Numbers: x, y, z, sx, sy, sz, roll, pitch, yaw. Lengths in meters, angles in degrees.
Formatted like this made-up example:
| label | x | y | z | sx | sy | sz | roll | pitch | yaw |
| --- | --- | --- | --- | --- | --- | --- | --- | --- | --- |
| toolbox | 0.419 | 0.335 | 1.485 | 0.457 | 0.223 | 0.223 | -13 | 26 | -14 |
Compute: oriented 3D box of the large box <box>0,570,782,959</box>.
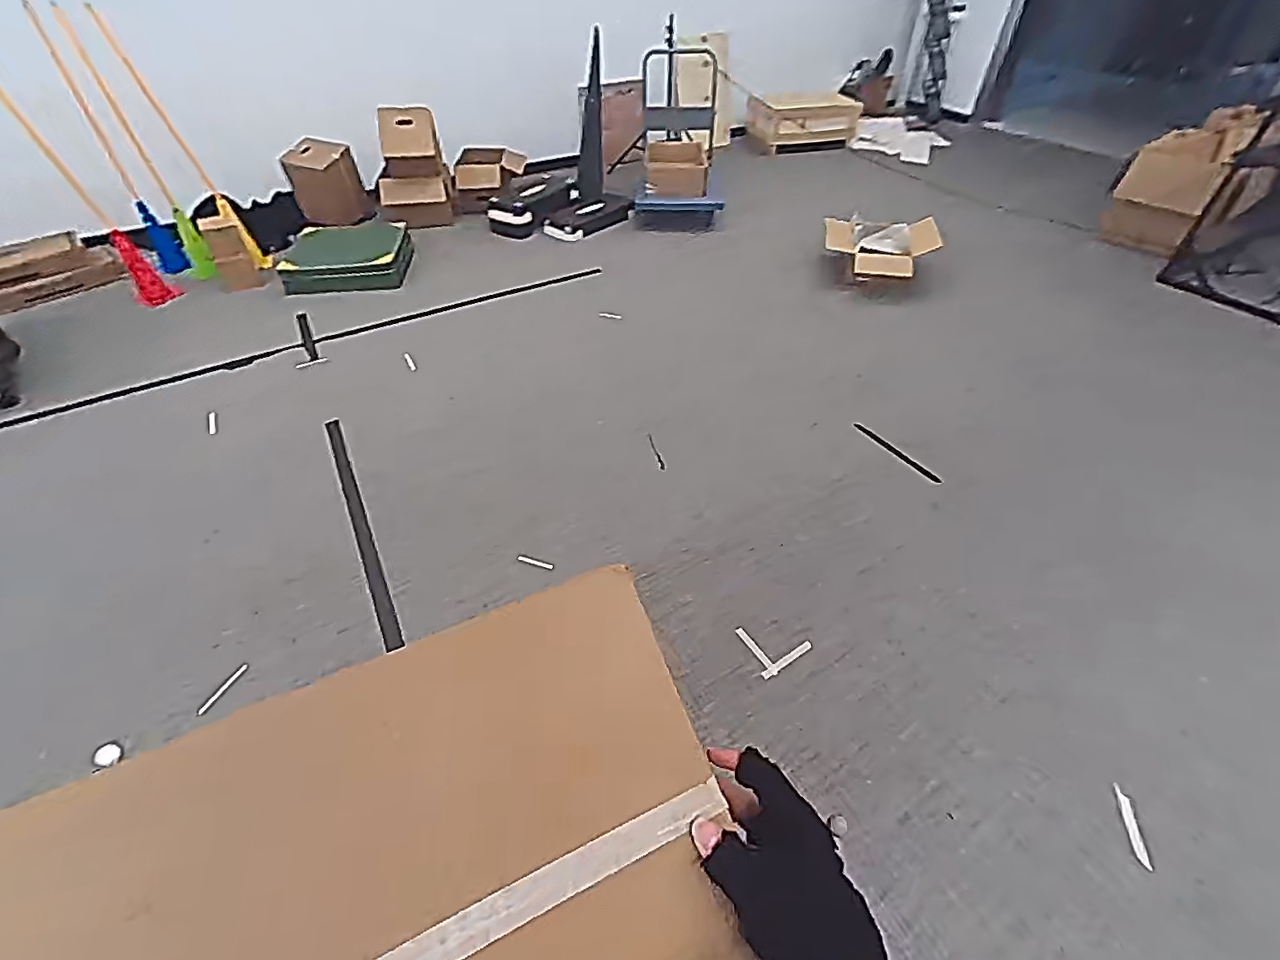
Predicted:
| label | x | y | z | sx | sy | sz | roll | pitch | yaw |
| --- | --- | --- | --- | --- | --- | --- | --- | --- | --- |
| large box | -0.160 | 0.307 | 0.438 | 0.408 | 0.320 | 0.320 | -20 | 80 | -15 |
